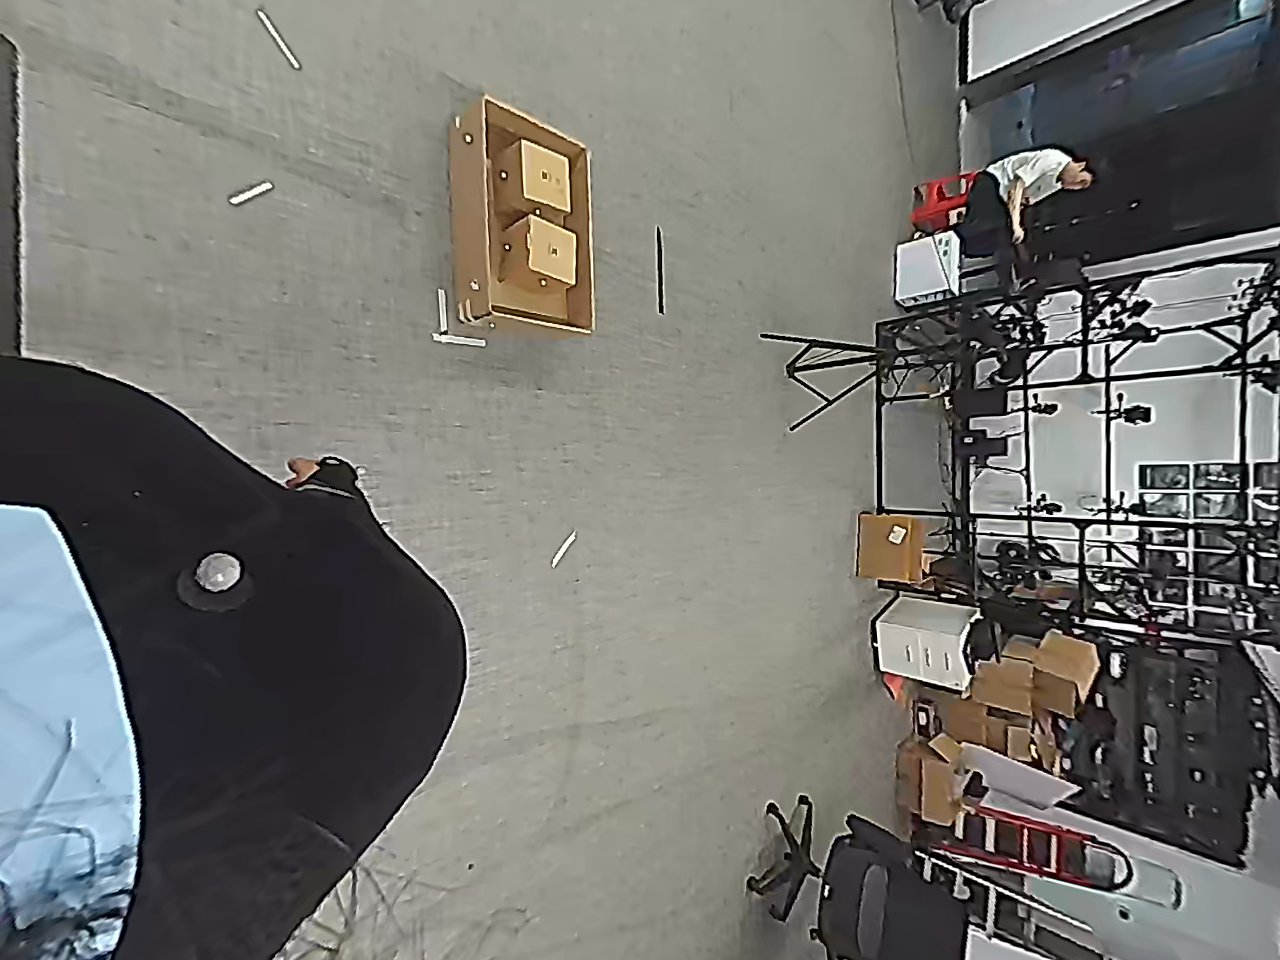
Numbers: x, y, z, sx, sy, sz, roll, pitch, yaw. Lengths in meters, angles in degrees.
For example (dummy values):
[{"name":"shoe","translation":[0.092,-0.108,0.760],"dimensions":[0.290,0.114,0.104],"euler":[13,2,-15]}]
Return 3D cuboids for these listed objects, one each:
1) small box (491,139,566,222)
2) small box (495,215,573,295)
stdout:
[{"name":"small box","translation":[-0.351,-0.915,1.684],"dimensions":[0.179,0.176,0.168],"euler":[-6,97,-46]},{"name":"small box","translation":[-0.334,-0.700,1.708],"dimensions":[0.179,0.176,0.168],"euler":[4,87,-46]}]
